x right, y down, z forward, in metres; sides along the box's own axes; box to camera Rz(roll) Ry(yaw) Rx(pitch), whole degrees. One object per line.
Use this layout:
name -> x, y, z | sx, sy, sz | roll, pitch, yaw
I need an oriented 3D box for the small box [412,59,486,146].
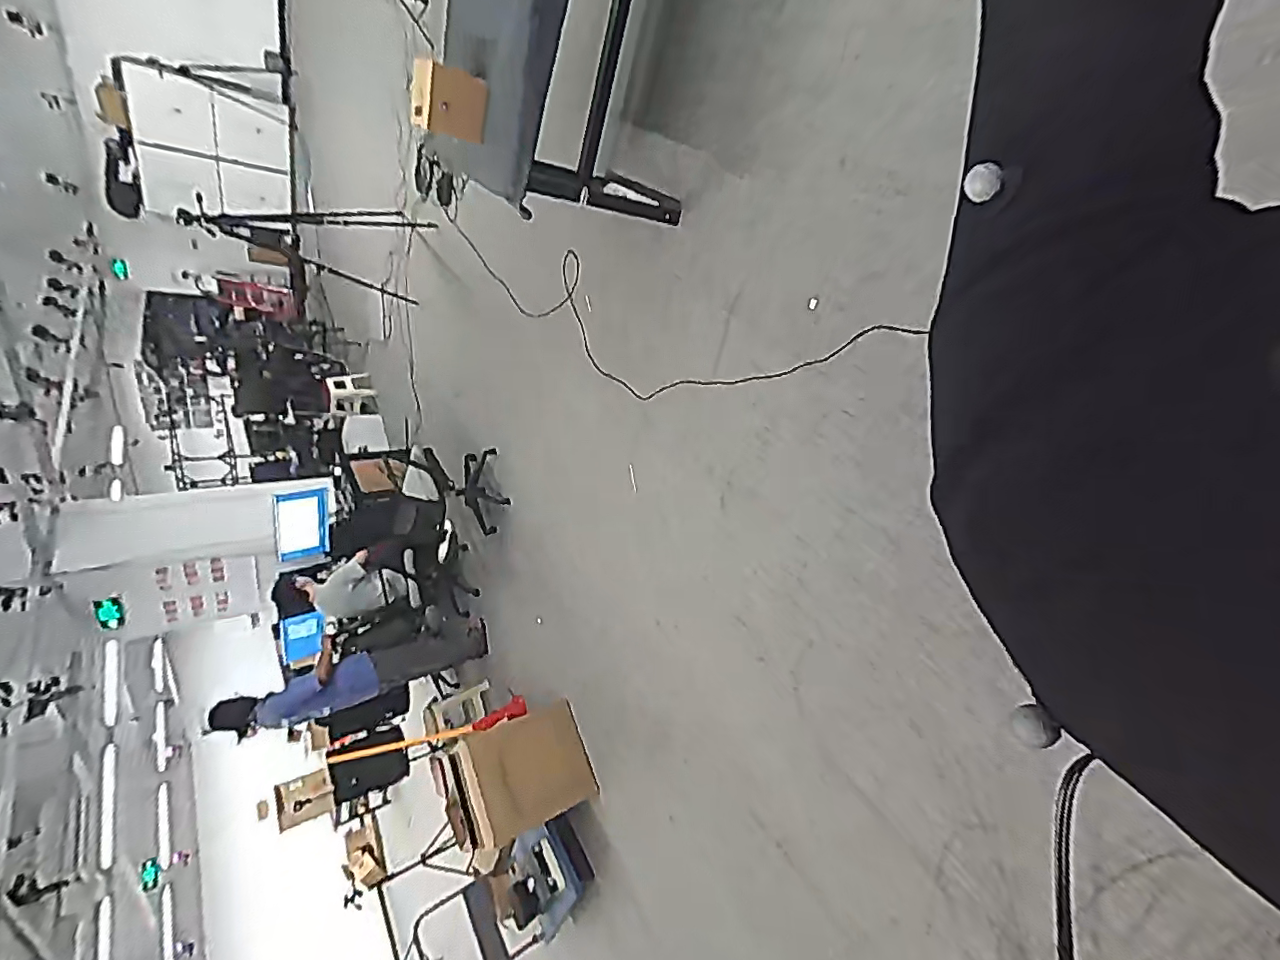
small box -> -0.589, -1.158, 1.667 | 0.168, 0.176, 0.179 | 44, 127, 38
